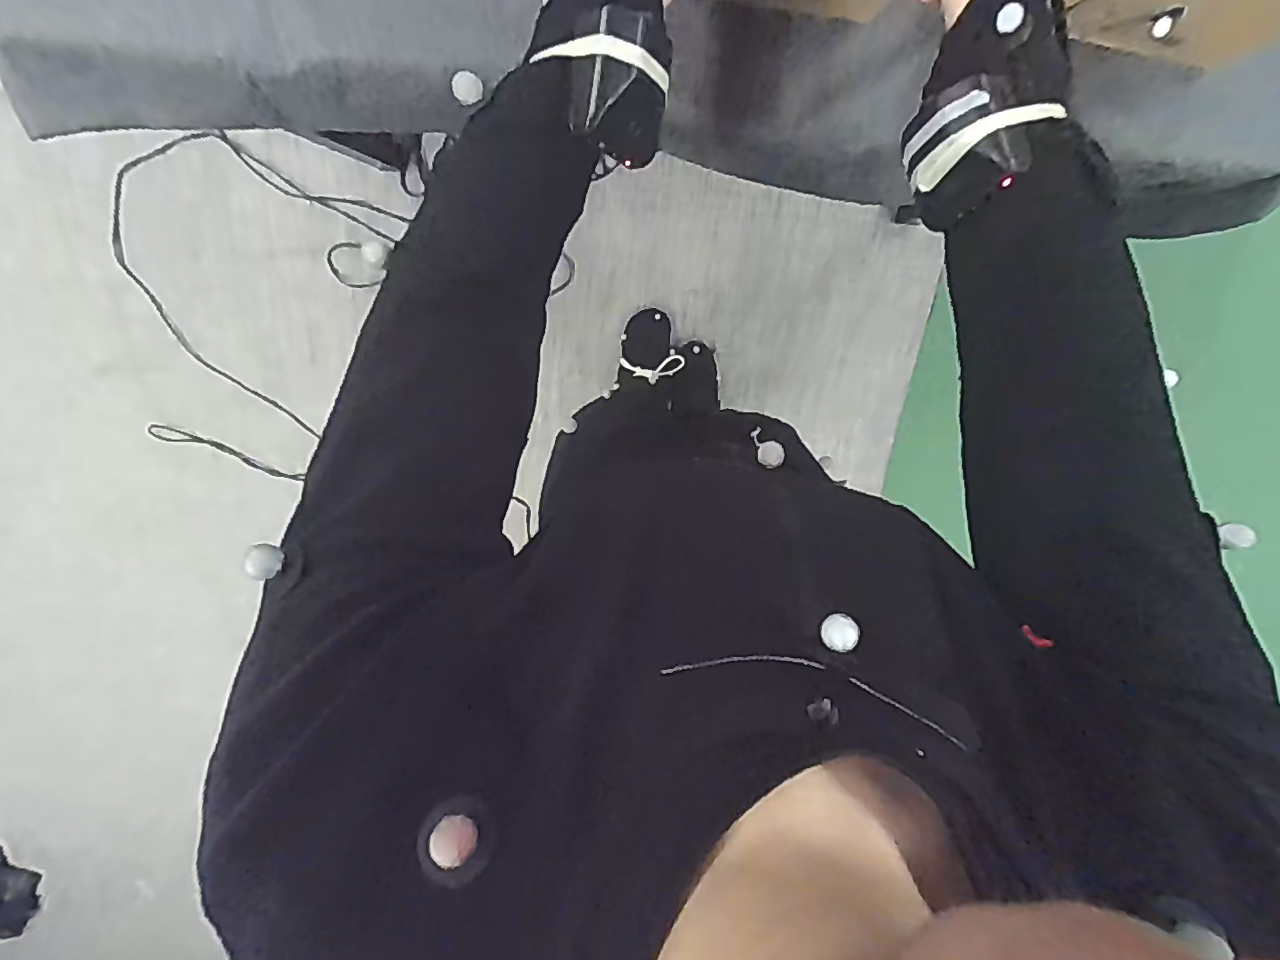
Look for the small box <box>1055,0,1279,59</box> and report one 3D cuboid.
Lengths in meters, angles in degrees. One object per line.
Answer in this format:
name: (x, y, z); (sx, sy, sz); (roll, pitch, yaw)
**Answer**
small box: (0.446, -0.439, 0.375); (0.168, 0.176, 0.179); (9, 110, -3)
